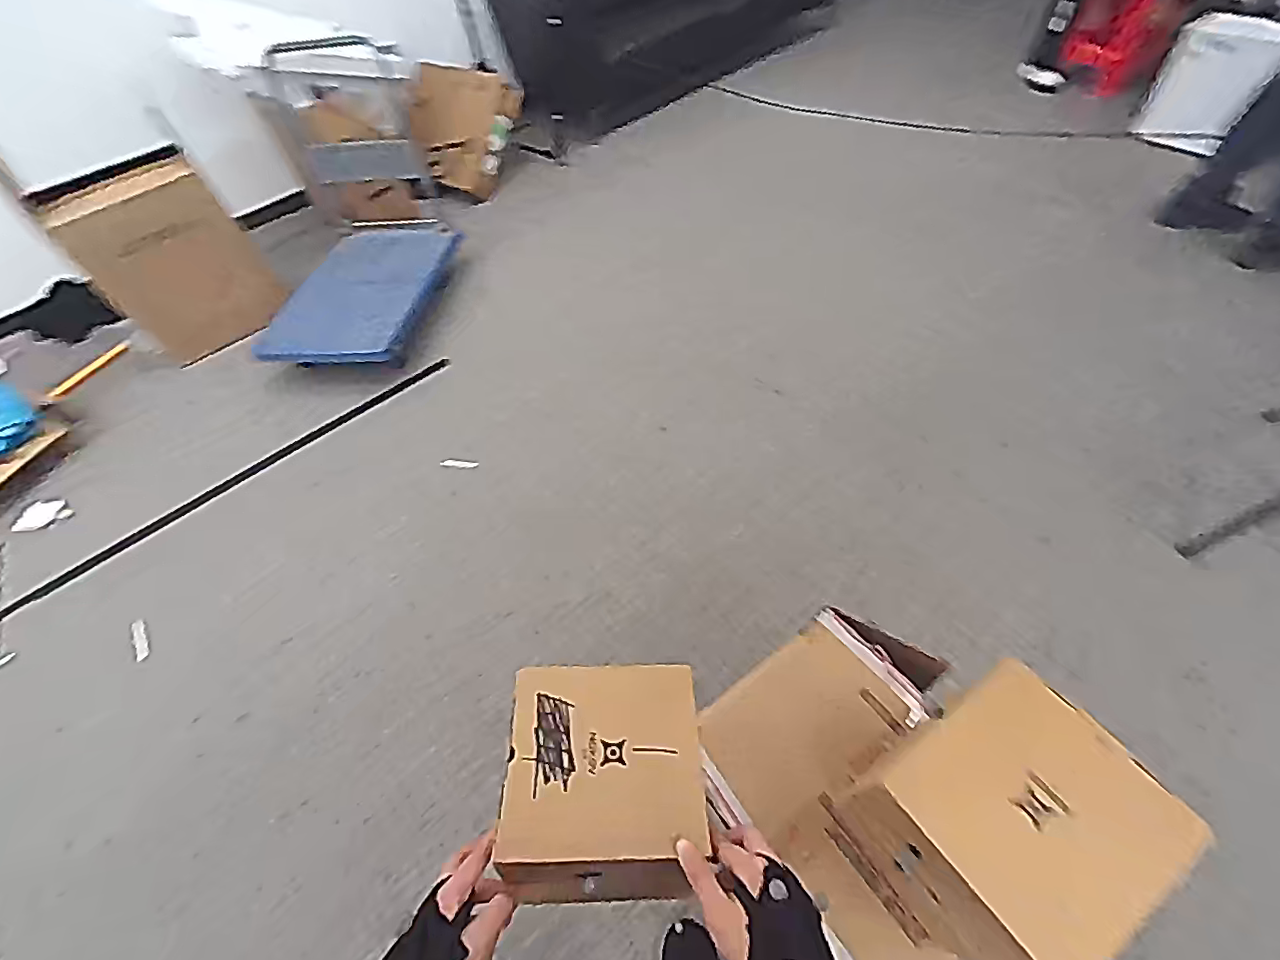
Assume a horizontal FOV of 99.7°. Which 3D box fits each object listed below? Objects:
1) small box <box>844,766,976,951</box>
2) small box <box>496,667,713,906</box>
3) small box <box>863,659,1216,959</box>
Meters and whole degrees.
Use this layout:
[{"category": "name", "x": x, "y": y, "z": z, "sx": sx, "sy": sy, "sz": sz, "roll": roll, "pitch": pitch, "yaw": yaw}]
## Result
[{"category": "small box", "x": 0.362, "y": 0.398, "z": 0.619, "sx": 0.168, "sy": 0.176, "sz": 0.179, "roll": -31, "pitch": 57, "yaw": -12}, {"category": "small box", "x": -0.031, "y": 0.304, "z": 0.537, "sx": 0.179, "sy": 0.176, "sz": 0.168, "roll": 0, "pitch": 43, "yaw": -3}, {"category": "small box", "x": 0.329, "y": 0.303, "z": 0.491, "sx": 0.179, "sy": 0.176, "sz": 0.168, "roll": -33, "pitch": 57, "yaw": -14}]
